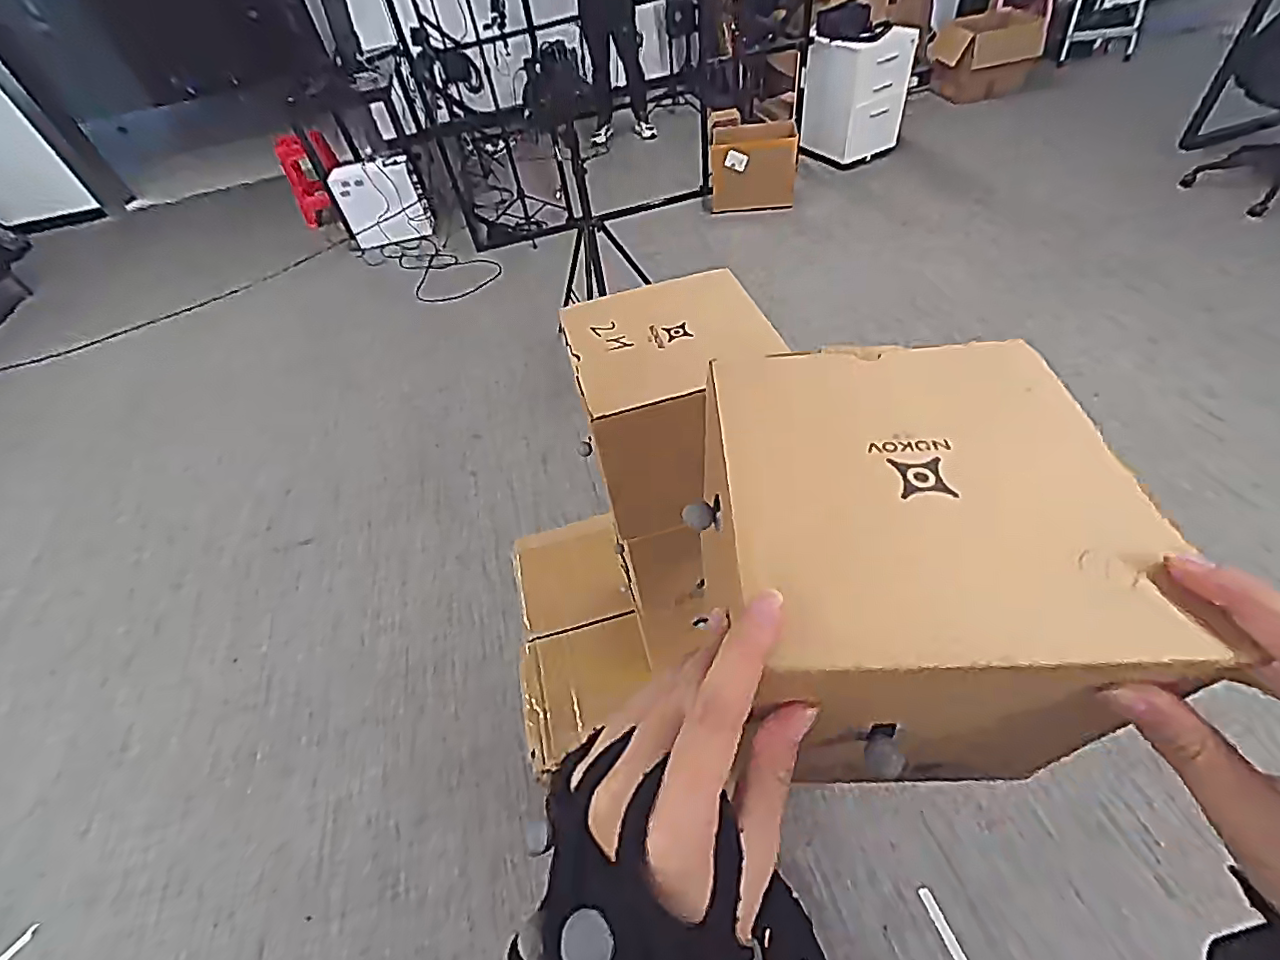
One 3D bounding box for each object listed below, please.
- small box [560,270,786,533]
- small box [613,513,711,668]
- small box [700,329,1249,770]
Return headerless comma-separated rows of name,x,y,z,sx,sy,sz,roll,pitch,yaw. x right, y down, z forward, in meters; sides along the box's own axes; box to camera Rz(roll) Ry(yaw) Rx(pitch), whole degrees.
small box,0.033,-0.074,0.534,0.179,0.176,0.168,-15,49,-4
small box,0.073,0.146,0.776,0.179,0.176,0.168,-15,49,-5
small box,0.122,0.044,0.291,0.168,0.176,0.179,-4,47,3
